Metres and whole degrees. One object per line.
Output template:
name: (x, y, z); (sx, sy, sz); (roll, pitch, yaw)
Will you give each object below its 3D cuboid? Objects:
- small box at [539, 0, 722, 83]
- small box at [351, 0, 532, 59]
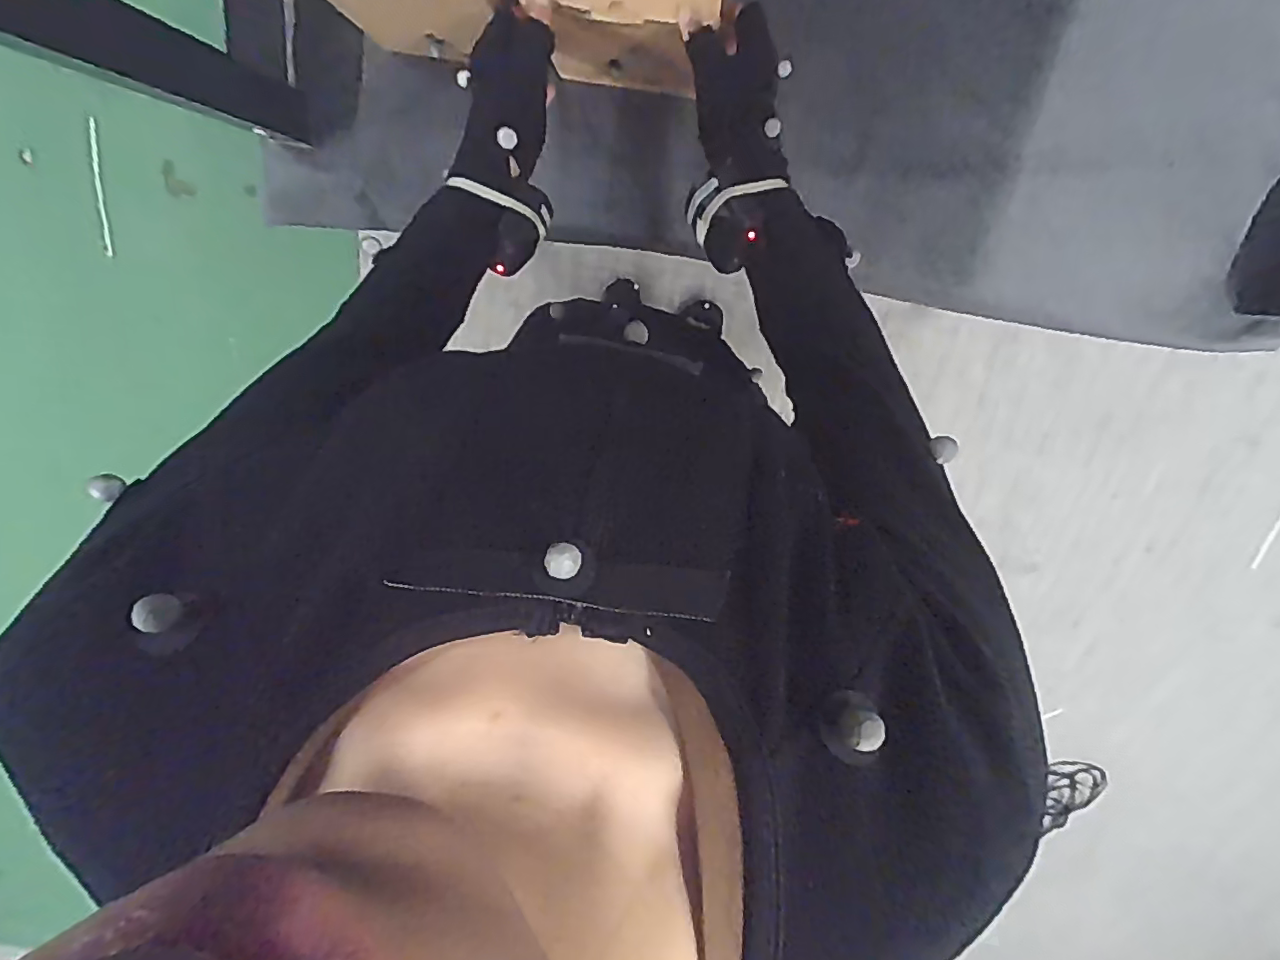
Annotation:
small box: (-0.001, -0.490, 0.476); (0.168, 0.176, 0.179); (9, 111, 1)
small box: (-0.191, -0.517, 0.476); (0.168, 0.176, 0.179); (9, 110, 1)
